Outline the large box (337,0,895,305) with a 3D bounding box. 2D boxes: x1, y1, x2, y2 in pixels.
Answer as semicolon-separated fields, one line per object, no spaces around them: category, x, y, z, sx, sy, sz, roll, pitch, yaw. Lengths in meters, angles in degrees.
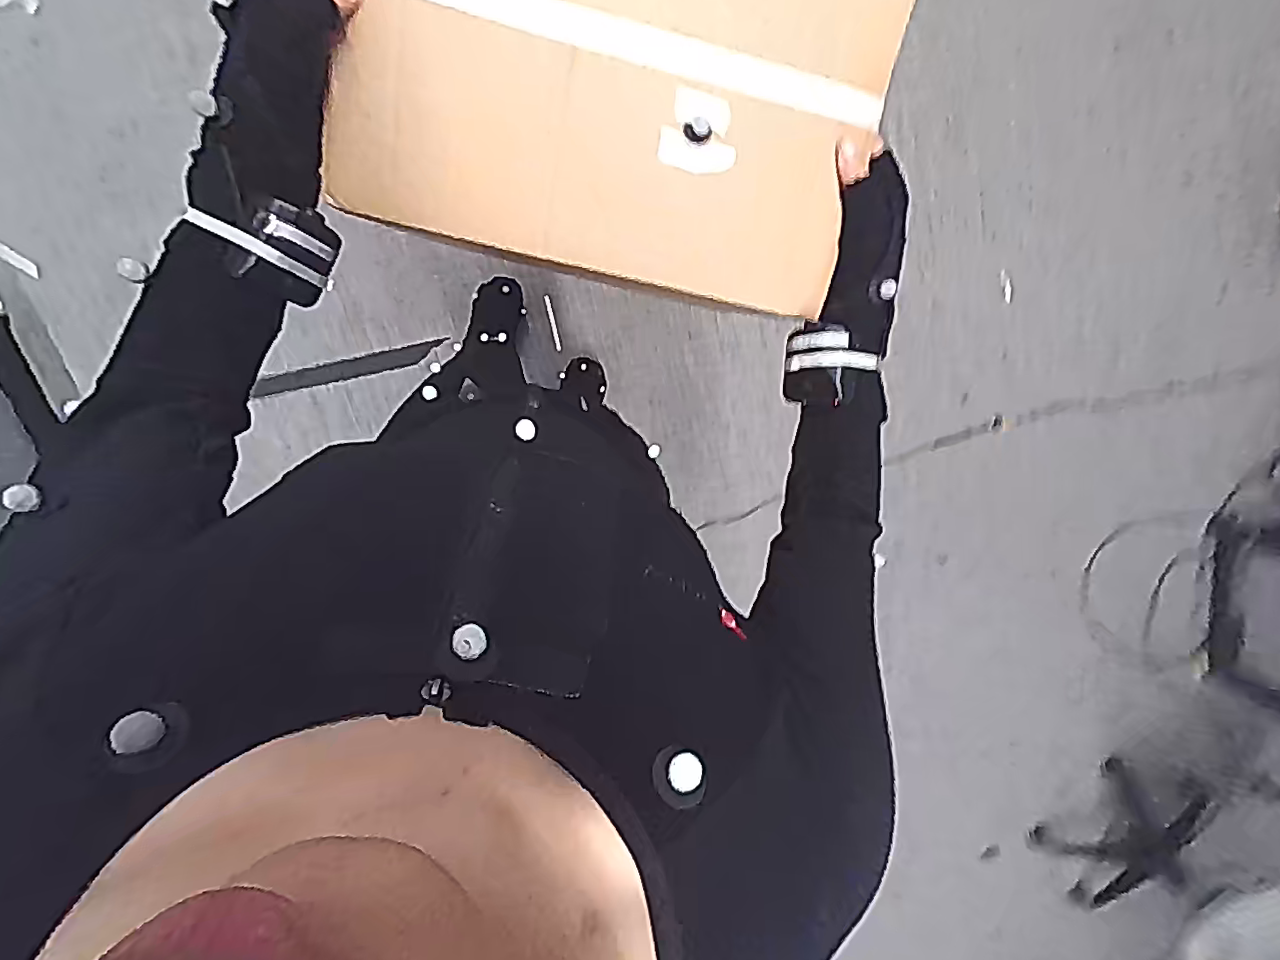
large box;-0.029;-0.372;0.545;0.408;0.320;0.320;10;108;-8
